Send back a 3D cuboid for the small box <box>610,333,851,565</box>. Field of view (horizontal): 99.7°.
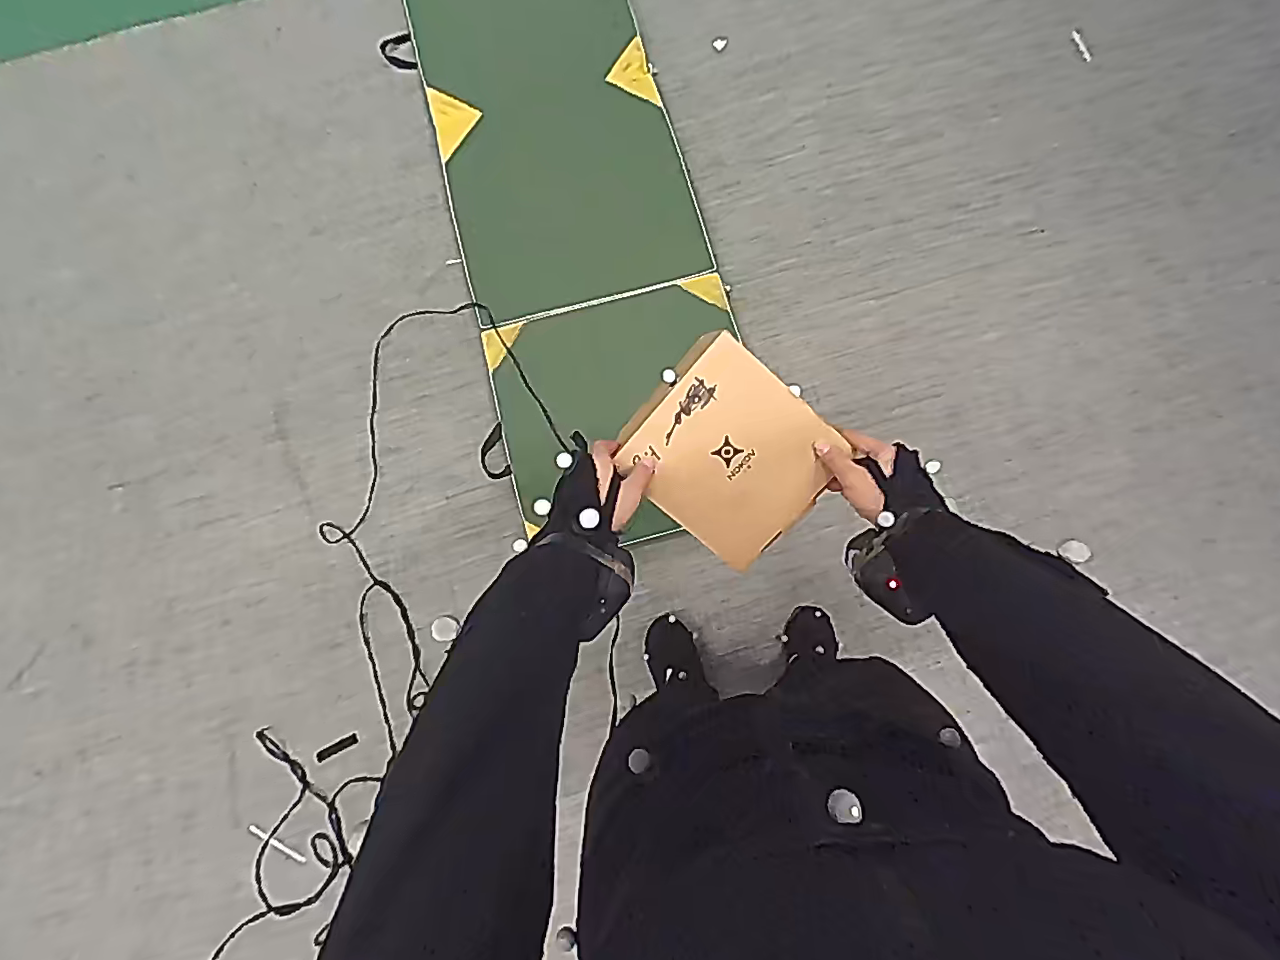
[{"bbox_3d":[0.088,-0.044,0.597,0.179,0.176,0.168,40,101,-8],"label":"small box"}]
